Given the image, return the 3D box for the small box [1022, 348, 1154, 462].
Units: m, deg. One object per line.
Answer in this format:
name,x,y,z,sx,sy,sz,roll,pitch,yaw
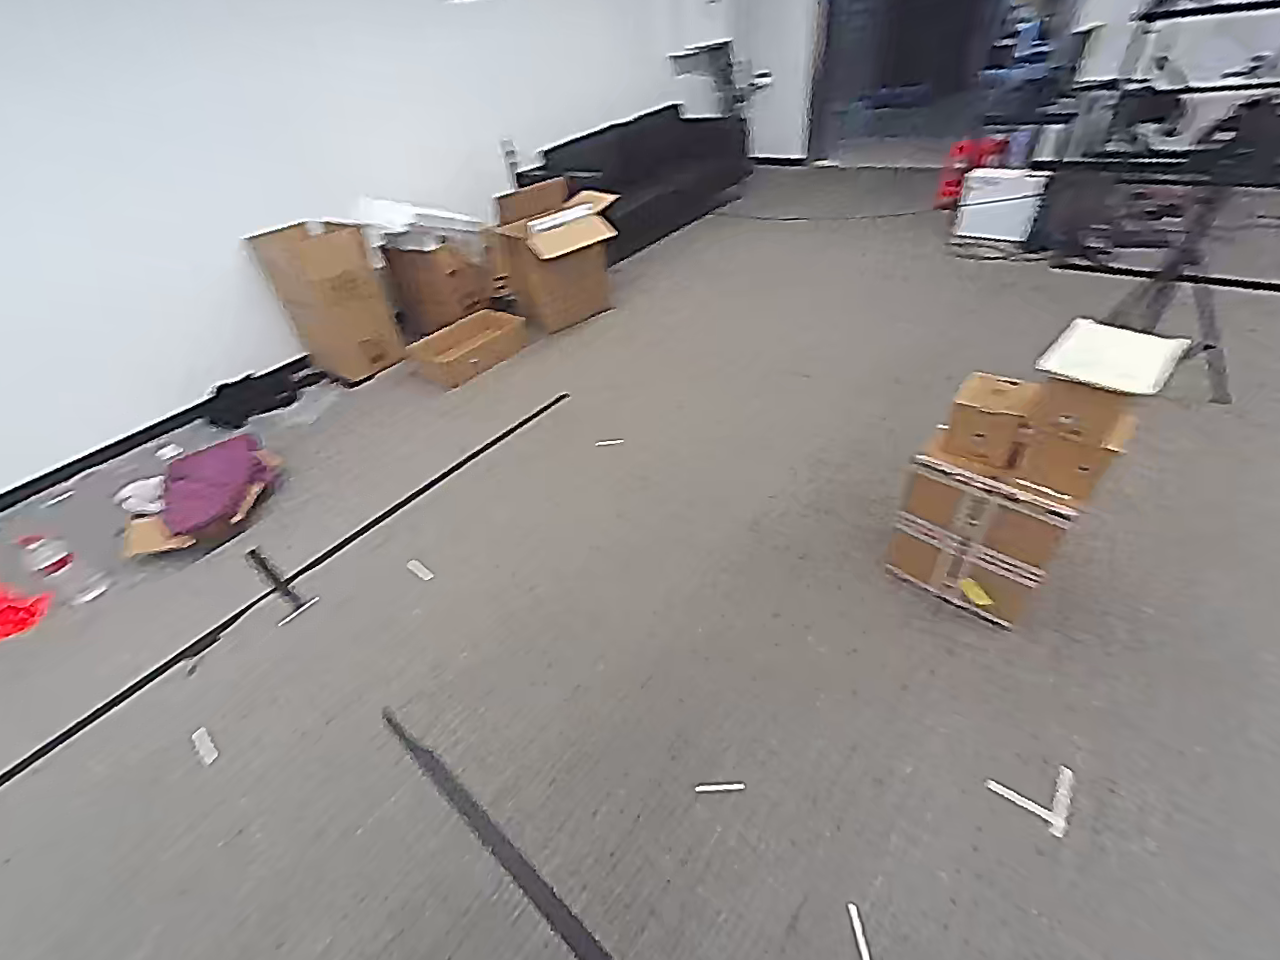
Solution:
small box,1.030,-0.175,1.255,0.179,0.176,0.168,-37,50,-27
